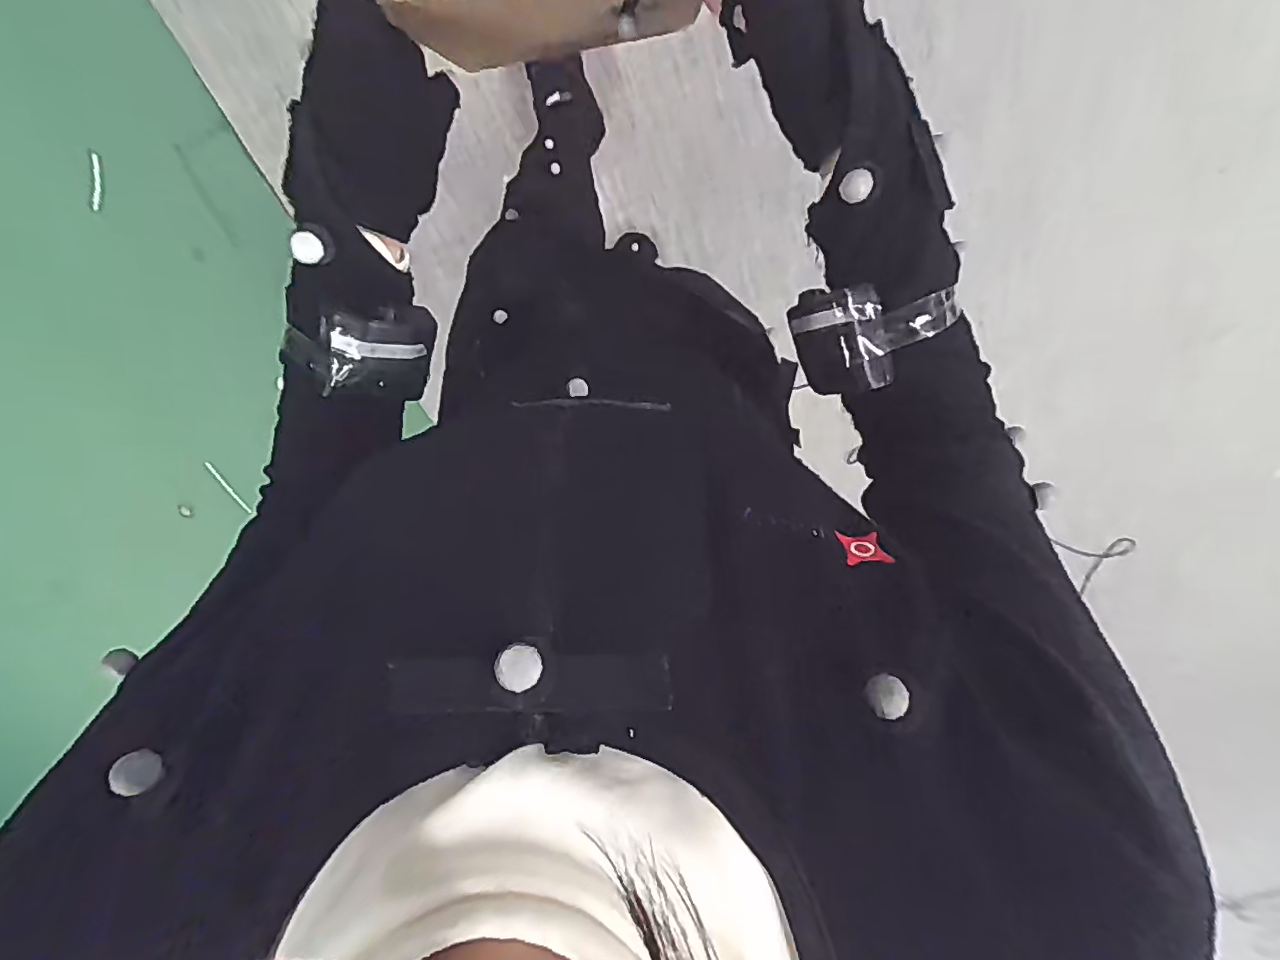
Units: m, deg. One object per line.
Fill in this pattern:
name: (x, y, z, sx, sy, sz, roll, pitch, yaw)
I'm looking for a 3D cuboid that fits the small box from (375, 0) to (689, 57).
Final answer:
small box: (-0.057, -0.341, 0.270, 0.168, 0.176, 0.179, -9, 117, 3)
